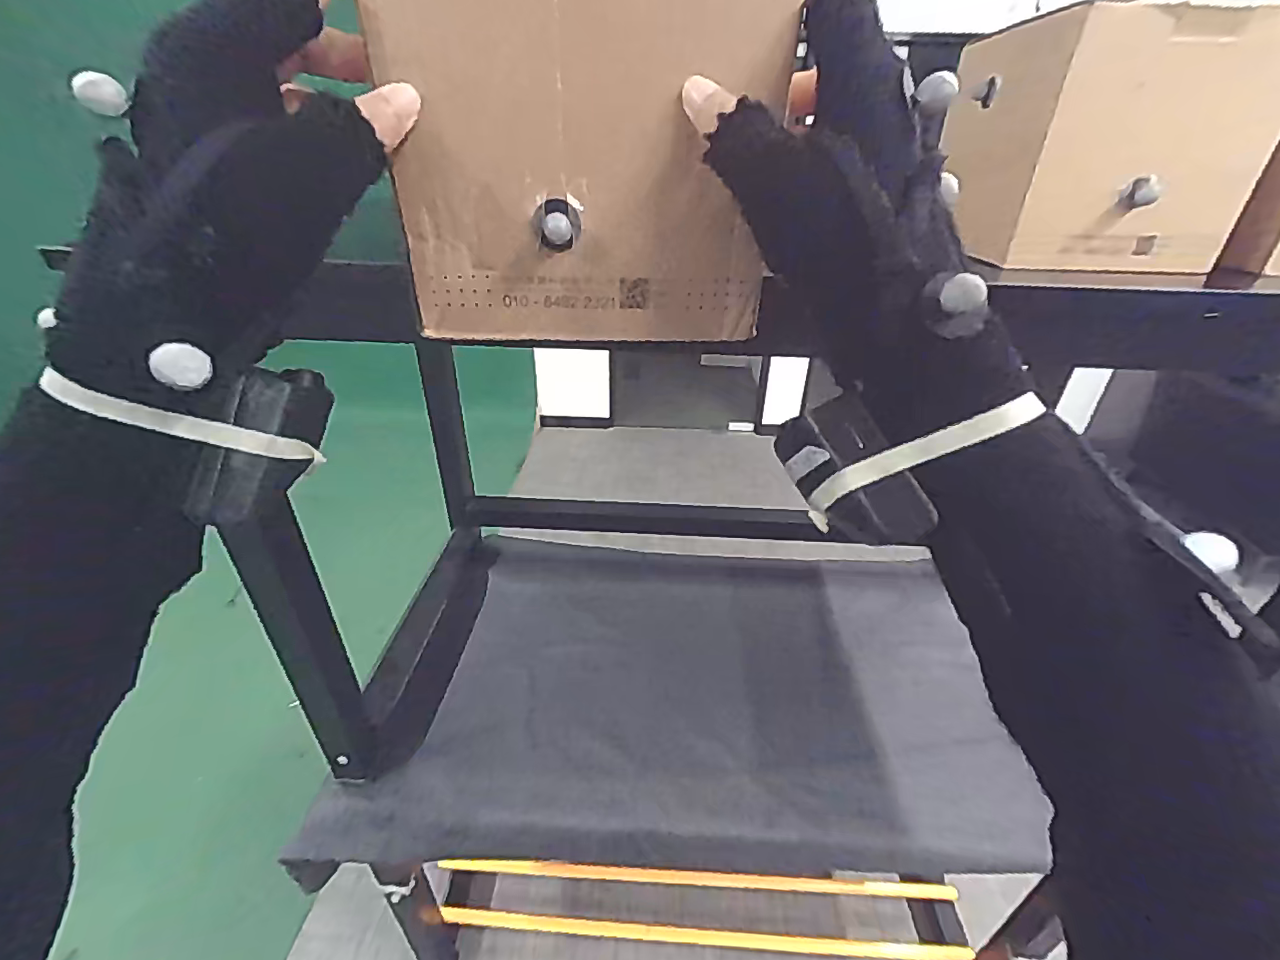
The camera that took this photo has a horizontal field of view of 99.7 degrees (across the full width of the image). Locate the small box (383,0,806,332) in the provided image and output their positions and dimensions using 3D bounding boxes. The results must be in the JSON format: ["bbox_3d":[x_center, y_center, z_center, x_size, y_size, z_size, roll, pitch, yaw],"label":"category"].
[{"bbox_3d":[-0.026,-0.191,0.295,0.168,0.176,0.179,-1,35,-5],"label":"small box"}]

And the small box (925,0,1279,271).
[{"bbox_3d":[0.375,-0.284,0.462,0.168,0.176,0.179,2,31,1],"label":"small box"}]
